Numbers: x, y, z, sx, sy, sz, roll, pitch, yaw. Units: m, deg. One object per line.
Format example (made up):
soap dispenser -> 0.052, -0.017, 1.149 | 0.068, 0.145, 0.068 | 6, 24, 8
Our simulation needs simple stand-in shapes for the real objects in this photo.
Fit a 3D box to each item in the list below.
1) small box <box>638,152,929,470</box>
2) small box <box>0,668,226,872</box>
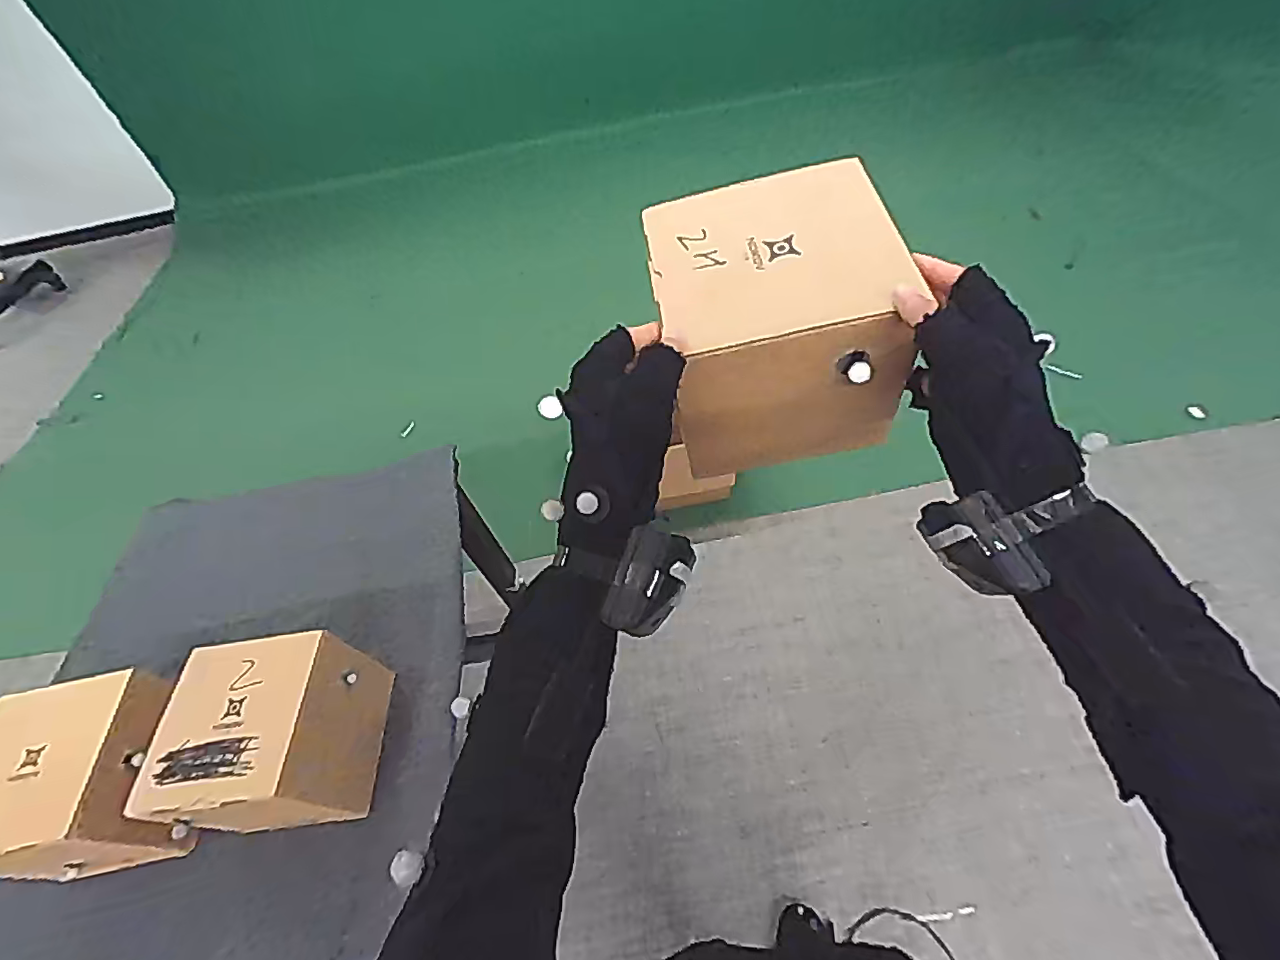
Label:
small box -> 0.106, -0.128, 0.456 | 0.179, 0.176, 0.168 | -12, 60, 7
small box -> -0.651, 0.352, 0.651 | 0.168, 0.176, 0.179 | -12, 54, -1
